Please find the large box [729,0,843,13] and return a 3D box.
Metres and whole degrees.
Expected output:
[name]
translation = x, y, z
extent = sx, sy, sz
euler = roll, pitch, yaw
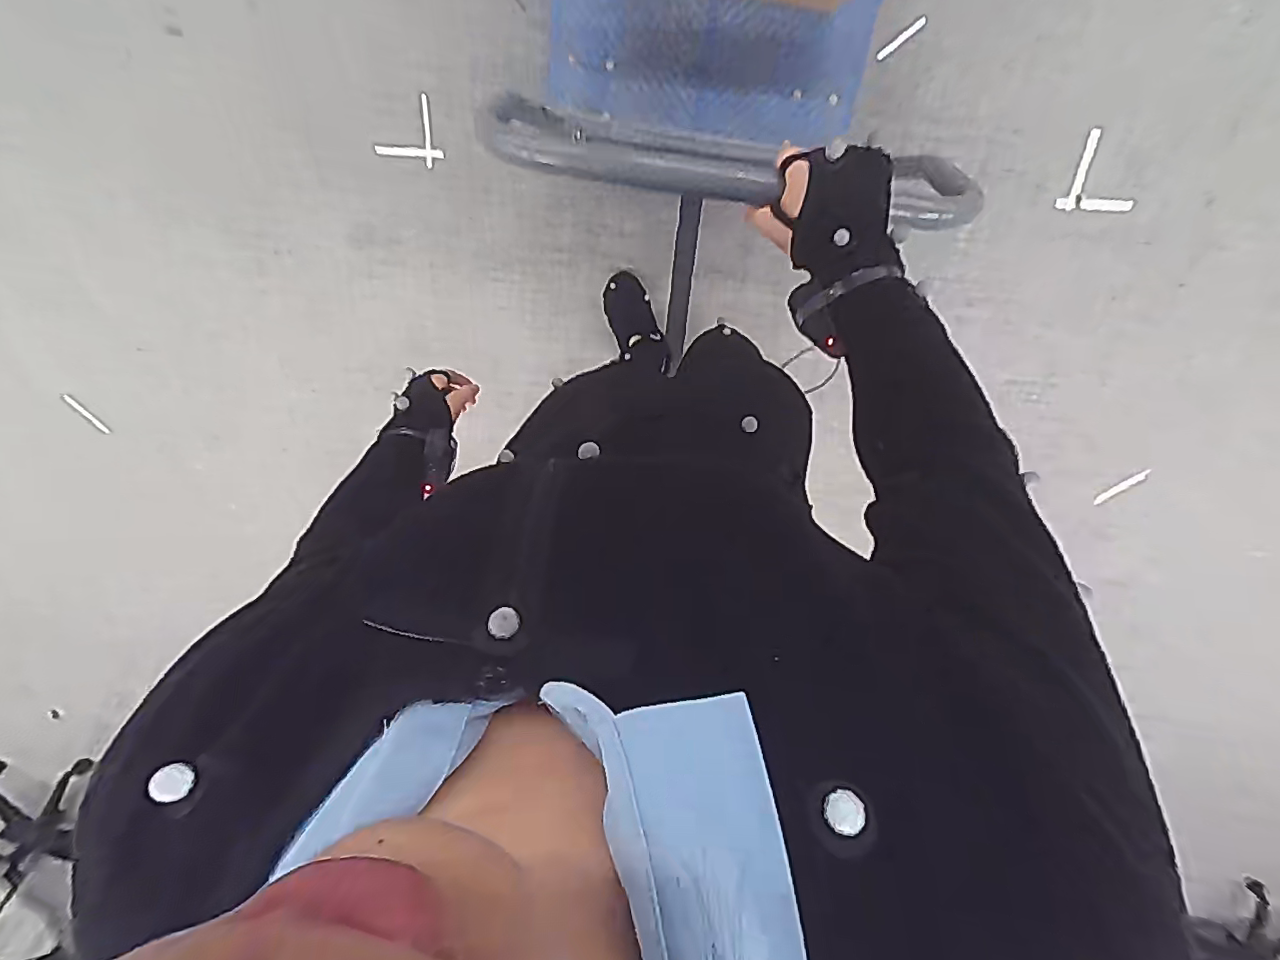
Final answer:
[large box]
translation = 0.165, -0.933, 0.774
extent = 0.408, 0.320, 0.320
euler = 8, 115, -2
